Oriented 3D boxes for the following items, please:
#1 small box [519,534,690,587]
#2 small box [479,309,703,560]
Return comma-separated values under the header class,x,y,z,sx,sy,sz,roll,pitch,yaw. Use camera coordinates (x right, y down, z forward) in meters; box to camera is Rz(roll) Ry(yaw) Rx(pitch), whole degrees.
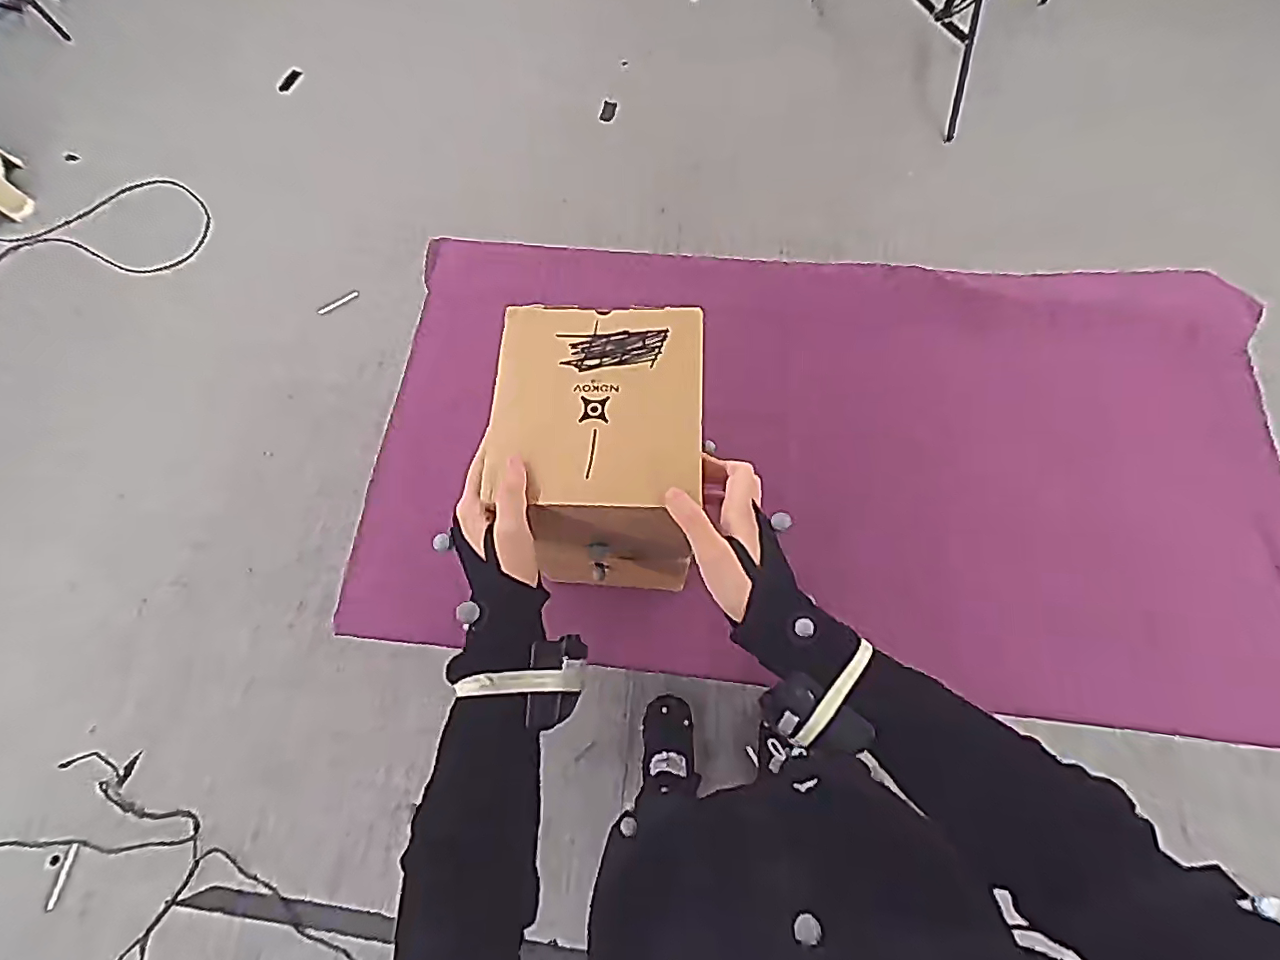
class,x,y,z,sx,sy,sz,roll,pitch,yaw
small box,-0.028,0.031,0.649,0.179,0.176,0.168,4,70,4
small box,-0.031,-0.033,0.498,0.168,0.176,0.179,1,71,3
